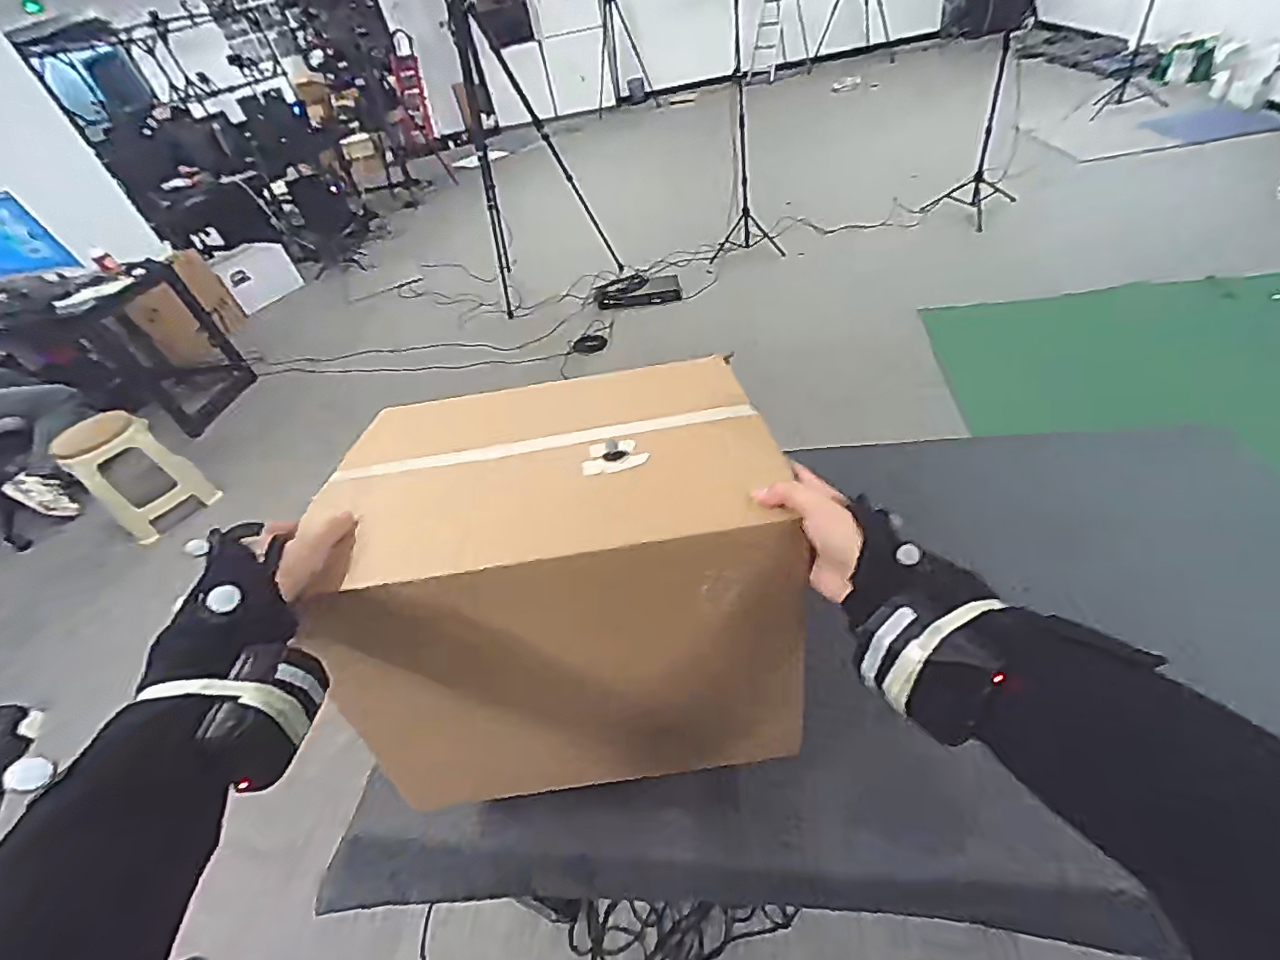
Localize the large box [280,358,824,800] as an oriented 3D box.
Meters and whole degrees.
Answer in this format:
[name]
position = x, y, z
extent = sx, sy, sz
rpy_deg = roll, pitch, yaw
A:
[large box]
position = -0.059, 0.092, 0.589
extent = 0.408, 0.320, 0.320
rpy_deg = -8, 34, 0
